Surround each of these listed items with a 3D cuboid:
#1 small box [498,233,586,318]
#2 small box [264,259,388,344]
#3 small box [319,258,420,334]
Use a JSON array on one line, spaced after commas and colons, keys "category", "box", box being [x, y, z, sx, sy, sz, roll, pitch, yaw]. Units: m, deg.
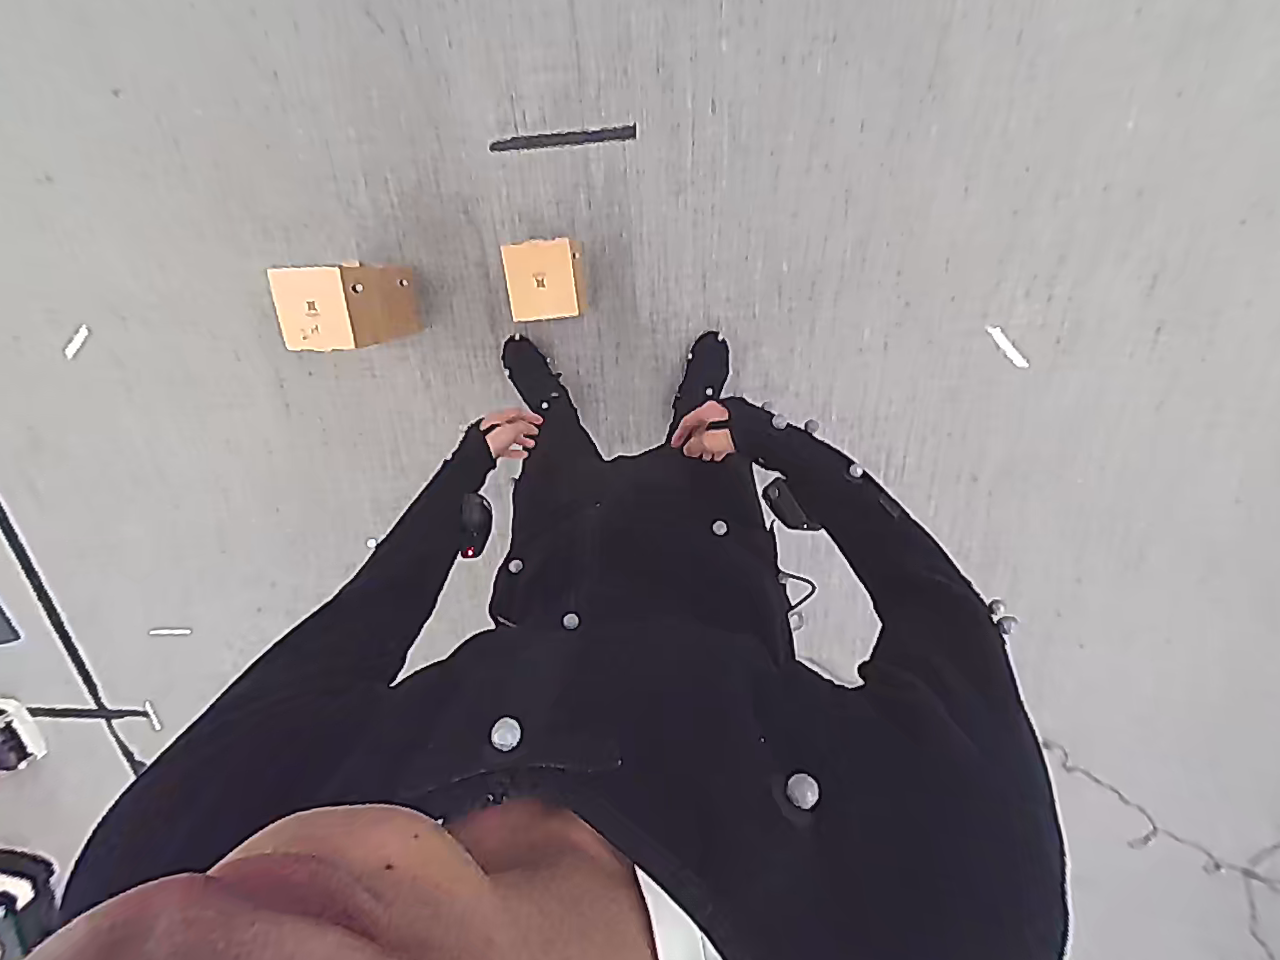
[{"category": "small box", "box": [-0.235, -0.508, 1.346, 0.168, 0.176, 0.179, -4, 110, 5]}, {"category": "small box", "box": [-0.706, -0.409, 1.238, 0.168, 0.176, 0.179, 1, 112, 5]}, {"category": "small box", "box": [-0.688, -0.472, 1.388, 0.168, 0.176, 0.179, 2, 111, 4]}]
